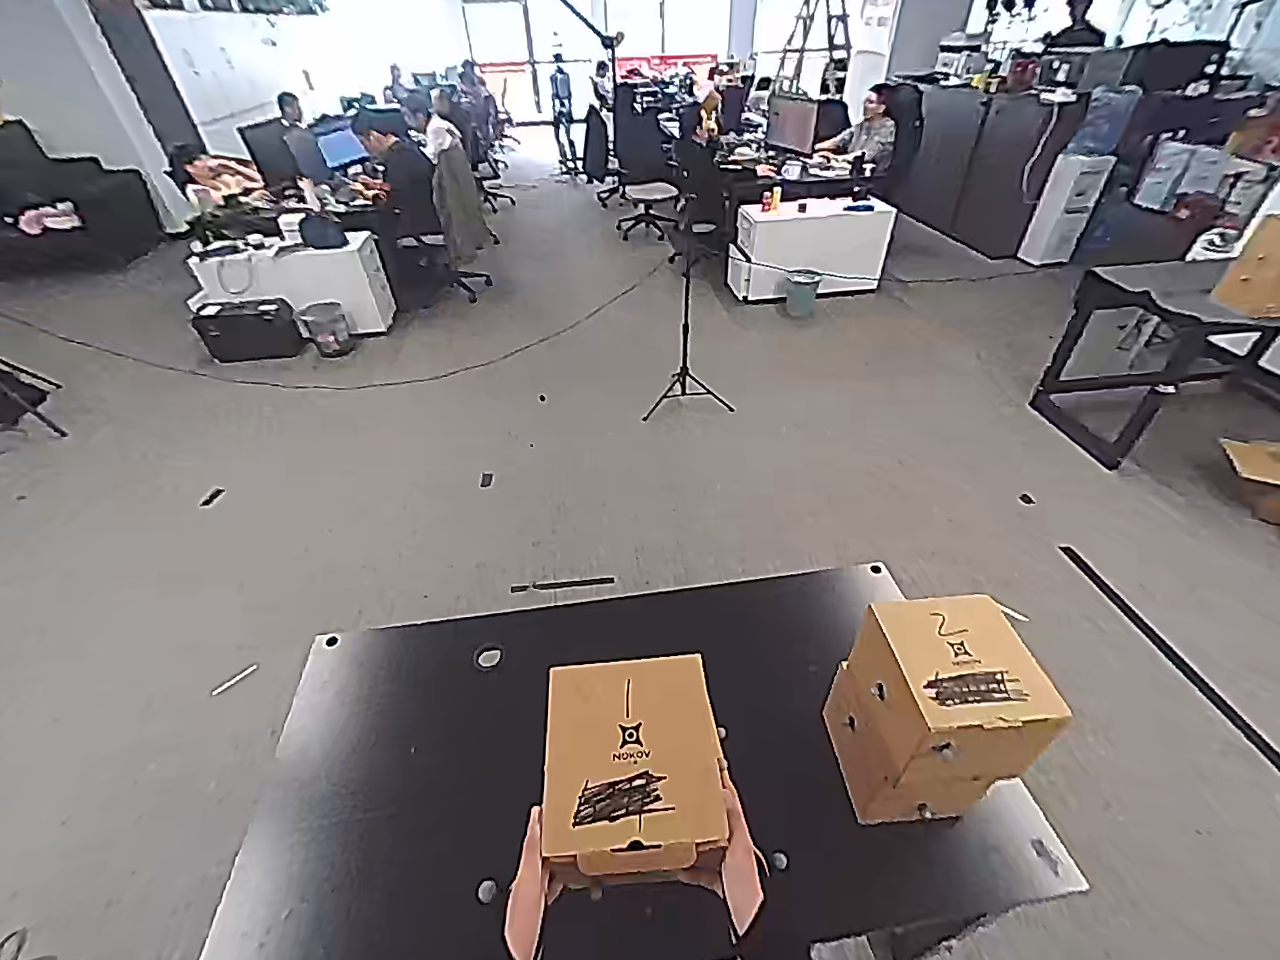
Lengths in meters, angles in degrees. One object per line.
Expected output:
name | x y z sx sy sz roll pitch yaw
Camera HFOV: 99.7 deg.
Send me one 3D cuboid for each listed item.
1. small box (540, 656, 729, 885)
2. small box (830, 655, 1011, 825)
small box | -0.002 0.310 0.571 0.168 0.176 0.179 -5 45 0
small box | 0.403 0.392 0.819 0.168 0.176 0.179 -4 40 0
